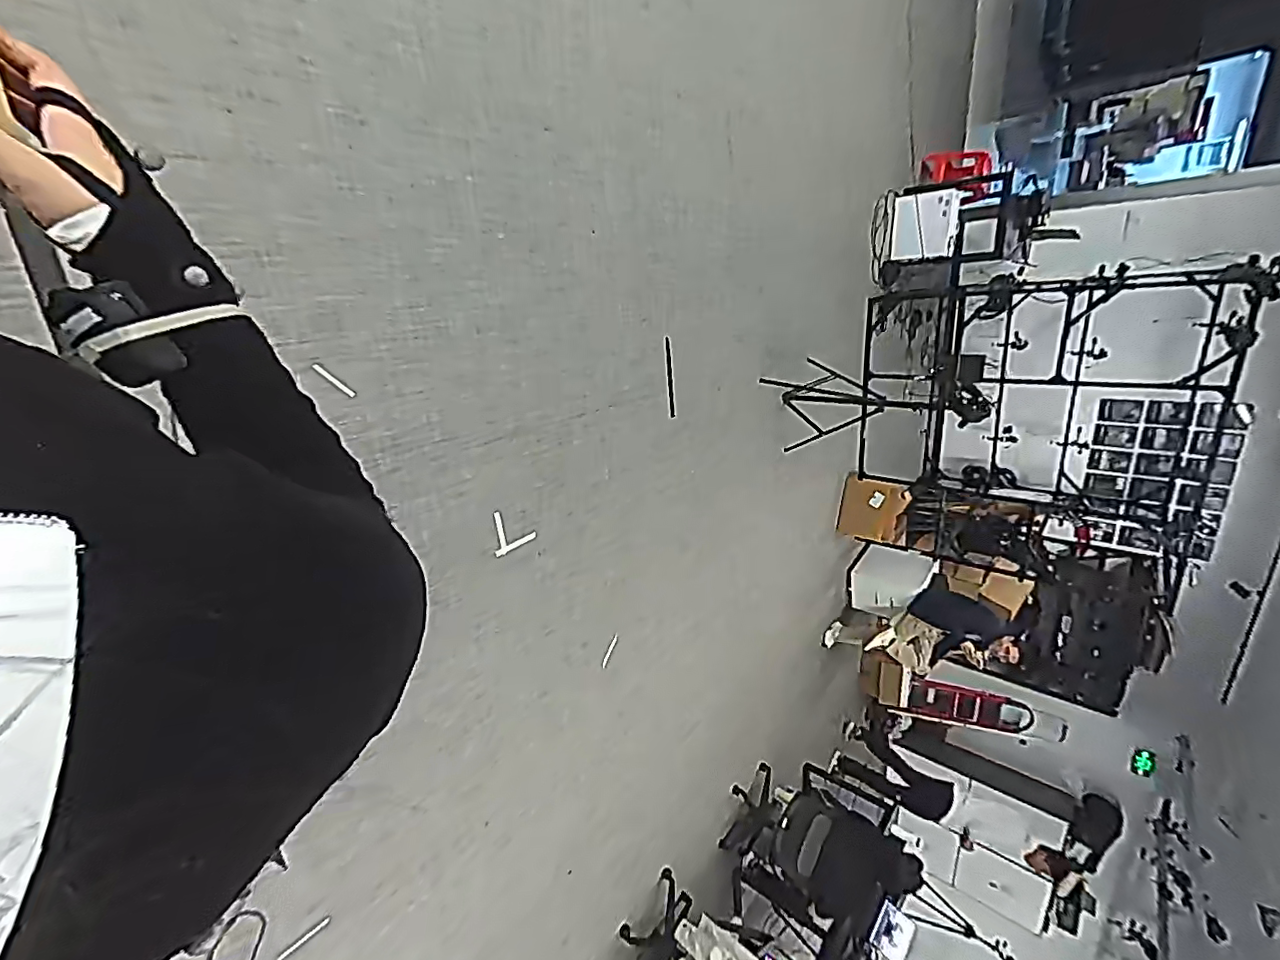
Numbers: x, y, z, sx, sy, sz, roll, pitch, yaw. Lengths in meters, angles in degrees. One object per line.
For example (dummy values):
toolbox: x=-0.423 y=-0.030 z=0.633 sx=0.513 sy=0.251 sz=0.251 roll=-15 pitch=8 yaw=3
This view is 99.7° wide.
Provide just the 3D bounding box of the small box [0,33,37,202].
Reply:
small box: x=-0.467 y=-0.261 z=0.283 sx=0.168 sy=0.176 sz=0.179 roll=-19 pitch=116 yaw=-46
